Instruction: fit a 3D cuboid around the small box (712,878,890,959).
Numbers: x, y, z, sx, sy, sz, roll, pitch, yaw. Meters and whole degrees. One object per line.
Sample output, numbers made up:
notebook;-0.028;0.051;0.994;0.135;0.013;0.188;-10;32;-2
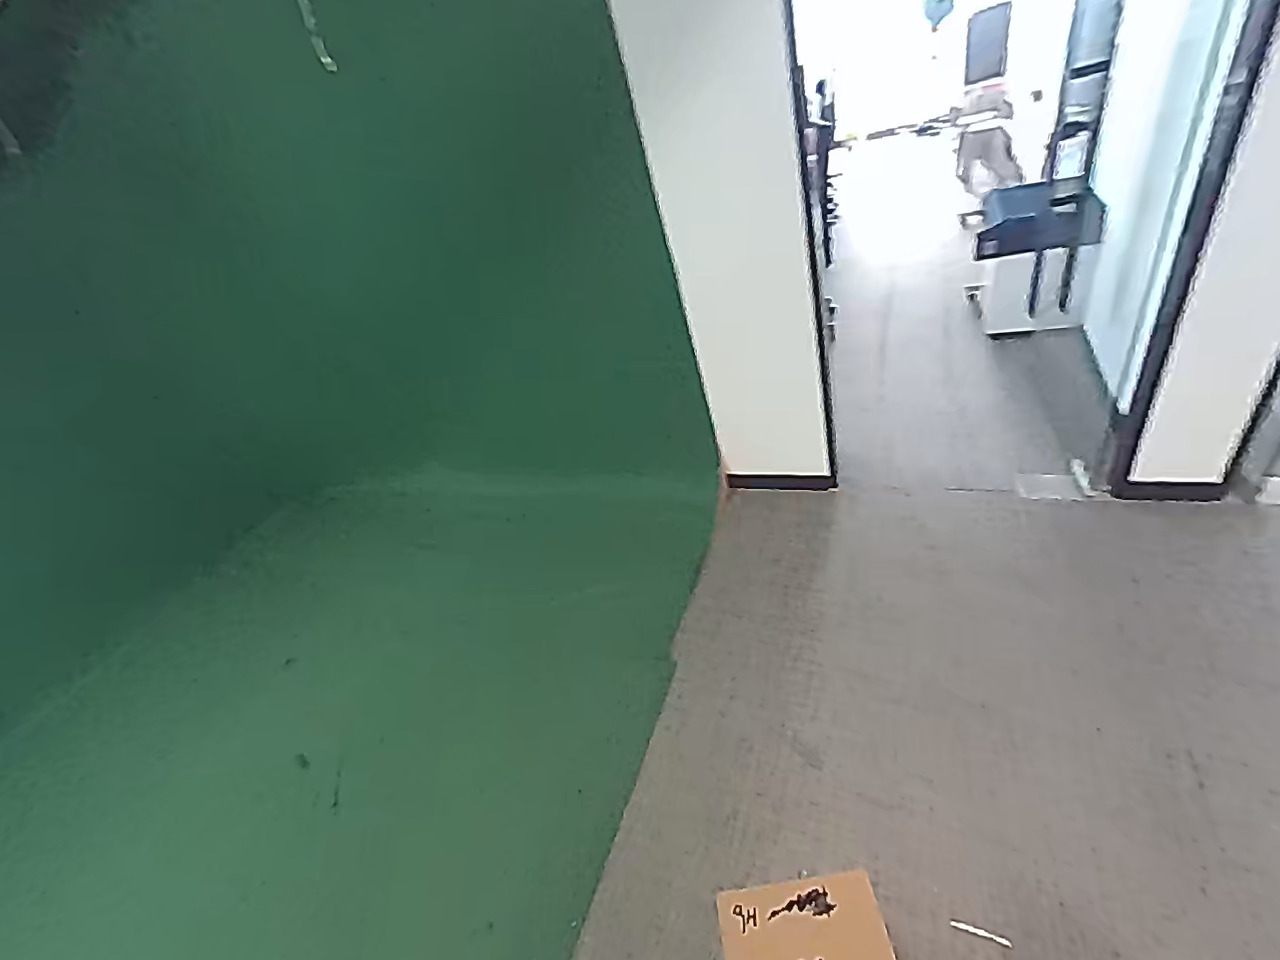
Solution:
small box;0.178;0.550;0.553;0.168;0.176;0.179;-12;35;2
